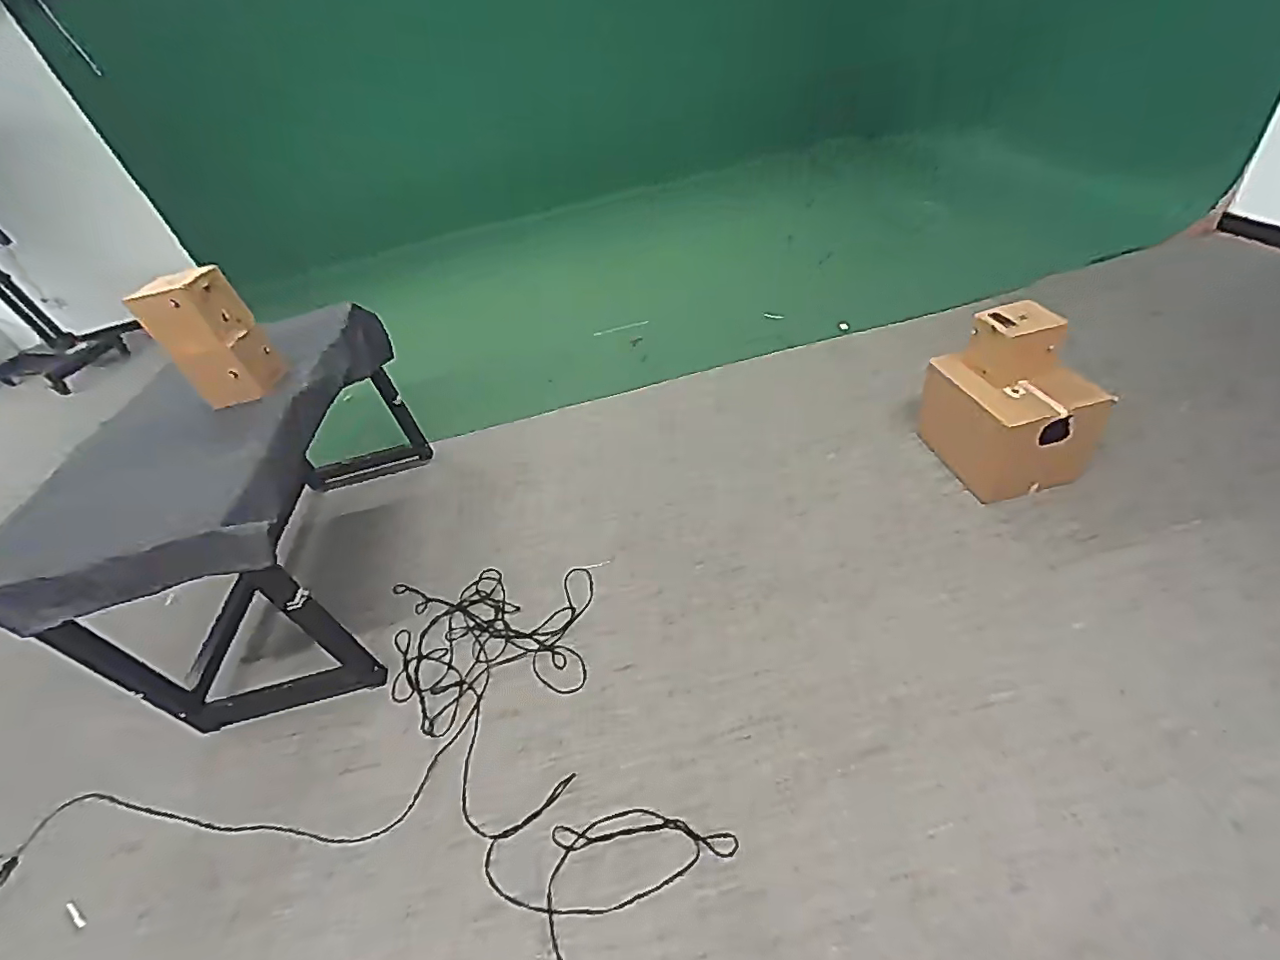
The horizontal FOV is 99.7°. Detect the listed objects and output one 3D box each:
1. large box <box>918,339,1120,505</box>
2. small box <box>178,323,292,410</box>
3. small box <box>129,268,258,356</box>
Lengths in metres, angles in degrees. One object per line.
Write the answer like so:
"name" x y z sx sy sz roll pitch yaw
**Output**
"large box" 1.166 -0.191 1.729 0.320 0.320 0.408 -16 43 1
"small box" -1.170 -0.330 1.580 0.179 0.176 0.168 -13 40 4
"small box" -1.219 -0.460 1.491 0.179 0.176 0.168 -9 41 7
